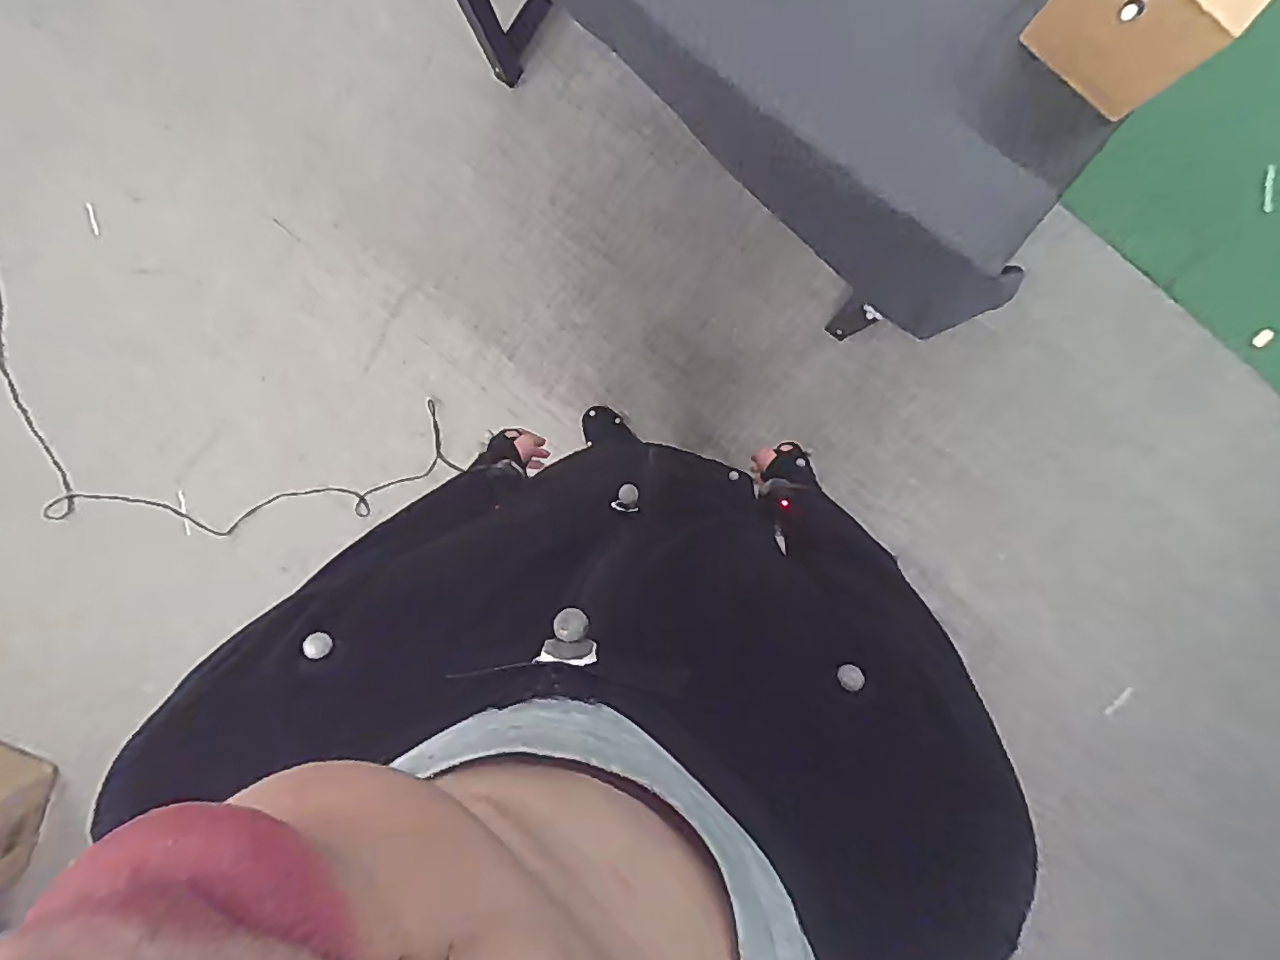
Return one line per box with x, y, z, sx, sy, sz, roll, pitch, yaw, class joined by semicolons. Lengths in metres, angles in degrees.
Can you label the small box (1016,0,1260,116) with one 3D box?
0.616;-0.595;0.653;0.179;0.176;0.168;39;95;-3;small box
